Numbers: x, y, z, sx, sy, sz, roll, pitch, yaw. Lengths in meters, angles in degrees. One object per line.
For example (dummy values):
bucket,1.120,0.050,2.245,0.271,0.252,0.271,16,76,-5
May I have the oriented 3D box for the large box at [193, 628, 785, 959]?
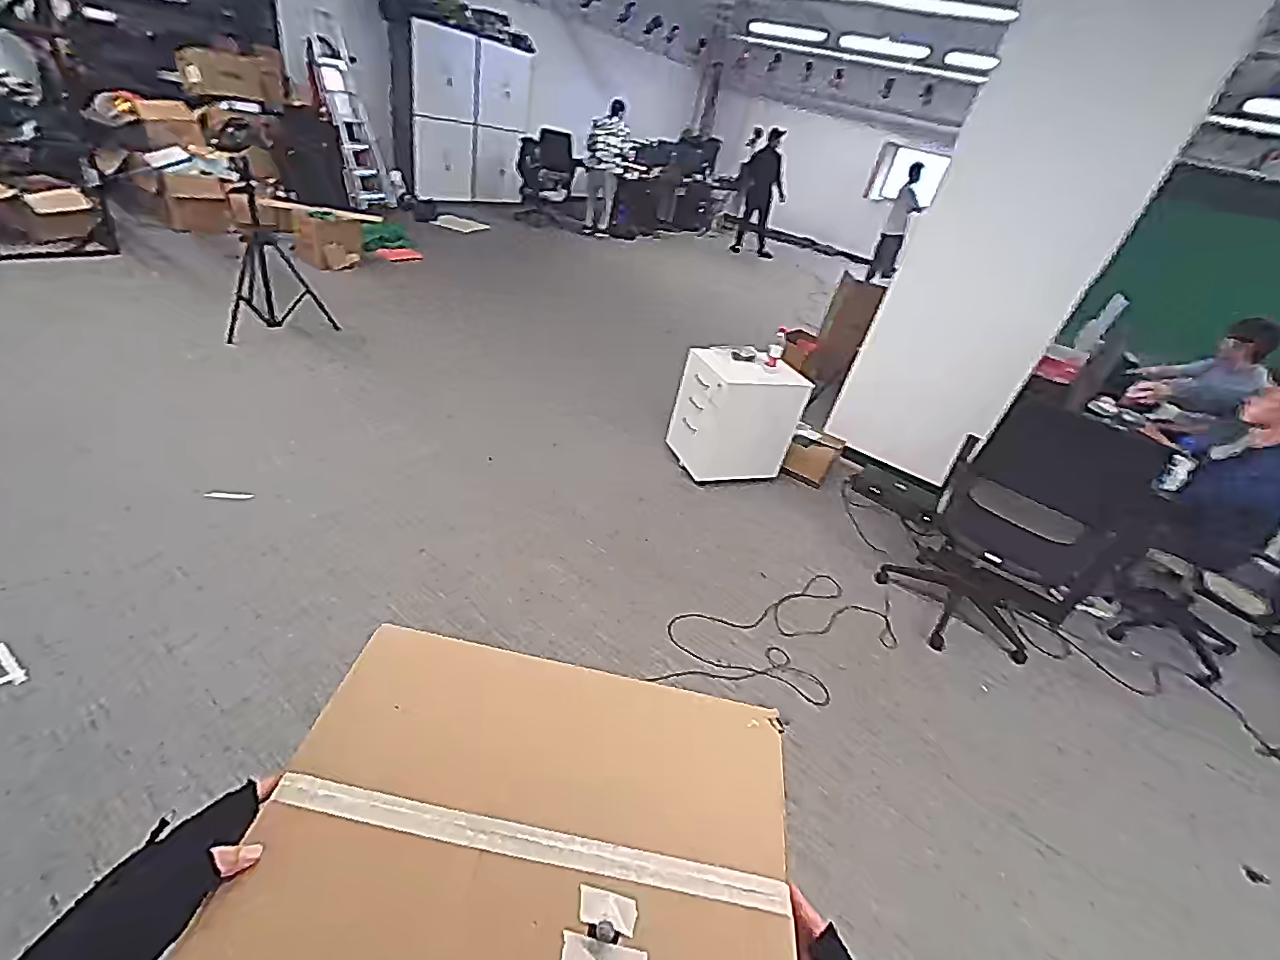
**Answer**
large box,-0.105,0.396,0.527,0.408,0.320,0.320,13,40,1
